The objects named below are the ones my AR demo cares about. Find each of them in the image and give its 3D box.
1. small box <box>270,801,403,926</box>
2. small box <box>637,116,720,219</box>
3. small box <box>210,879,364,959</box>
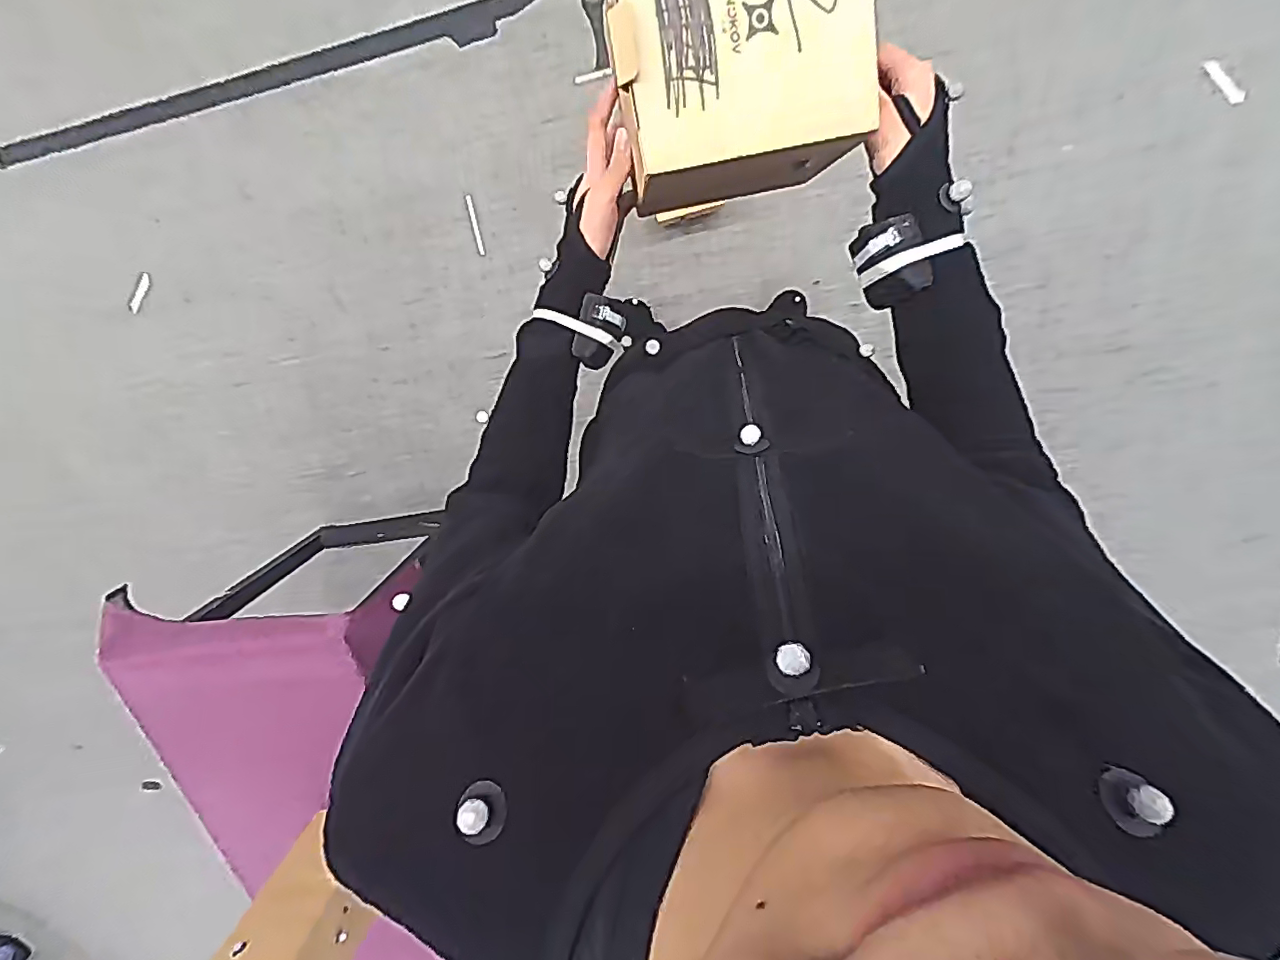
[{"bbox_3d":[-0.674,0.870,1.227,0.168,0.176,0.179,-12,109,10],"label":"small box"},{"bbox_3d":[0.099,-0.747,1.315,0.168,0.176,0.179,-12,109,10],"label":"small box"},{"bbox_3d":[-0.694,0.930,1.075,0.179,0.176,0.168,-7,111,8],"label":"small box"}]
